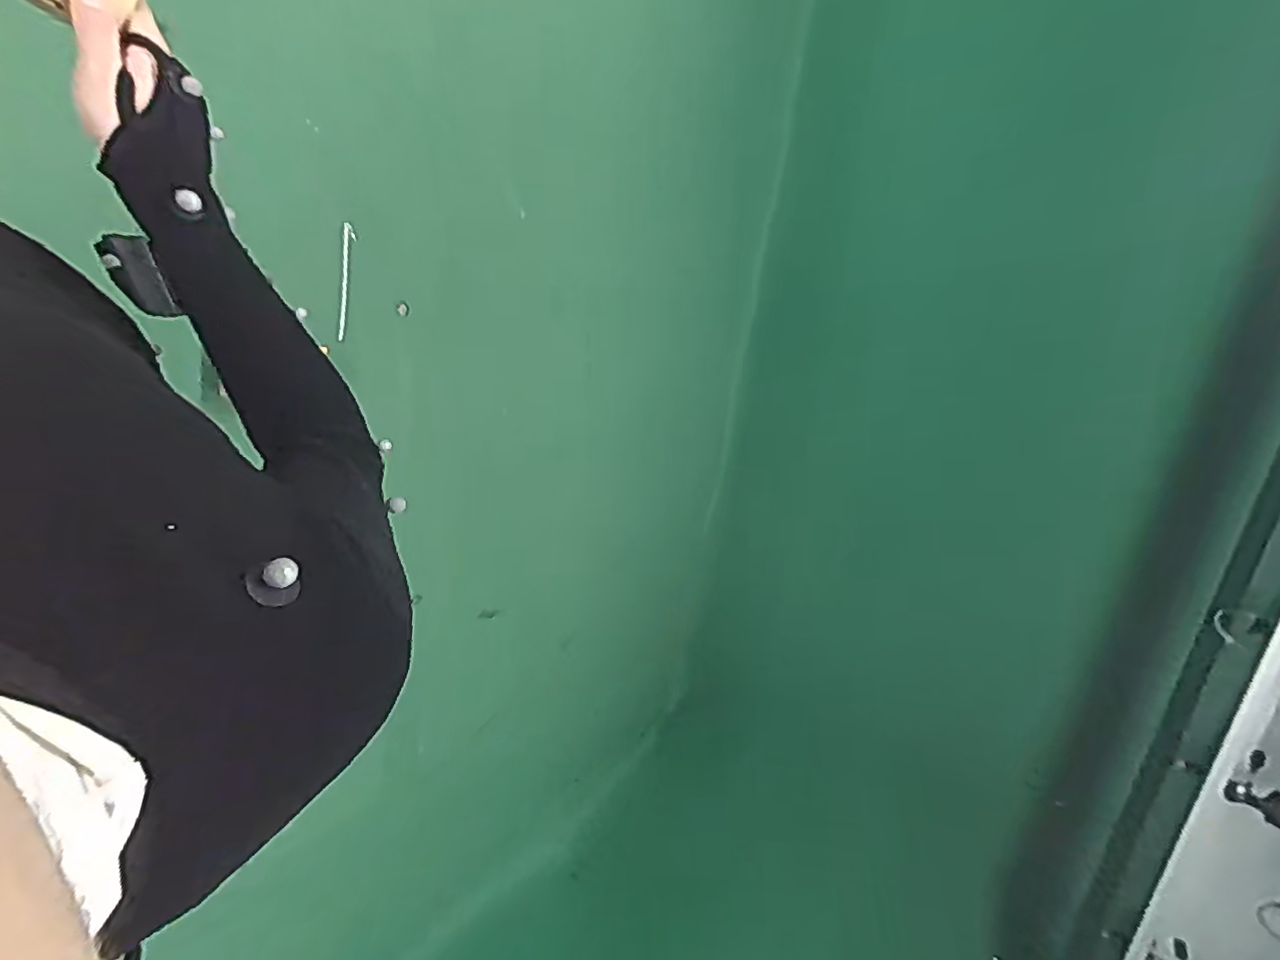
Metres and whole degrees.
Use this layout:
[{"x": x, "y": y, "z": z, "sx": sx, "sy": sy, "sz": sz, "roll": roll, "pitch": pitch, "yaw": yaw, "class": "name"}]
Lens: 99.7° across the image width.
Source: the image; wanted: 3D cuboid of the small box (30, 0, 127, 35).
[{"x": -0.440, "y": -0.444, "z": 0.350, "sx": 0.168, "sy": 0.176, "sz": 0.179, "roll": 12, "pitch": 108, "yaw": -61, "class": "small box"}]

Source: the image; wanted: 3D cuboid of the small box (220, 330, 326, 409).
[{"x": -0.931, "y": -0.280, "z": 1.372, "sx": 0.179, "sy": 0.176, "sz": 0.168, "roll": -6, "pitch": 110, "yaw": -53, "class": "small box"}]
